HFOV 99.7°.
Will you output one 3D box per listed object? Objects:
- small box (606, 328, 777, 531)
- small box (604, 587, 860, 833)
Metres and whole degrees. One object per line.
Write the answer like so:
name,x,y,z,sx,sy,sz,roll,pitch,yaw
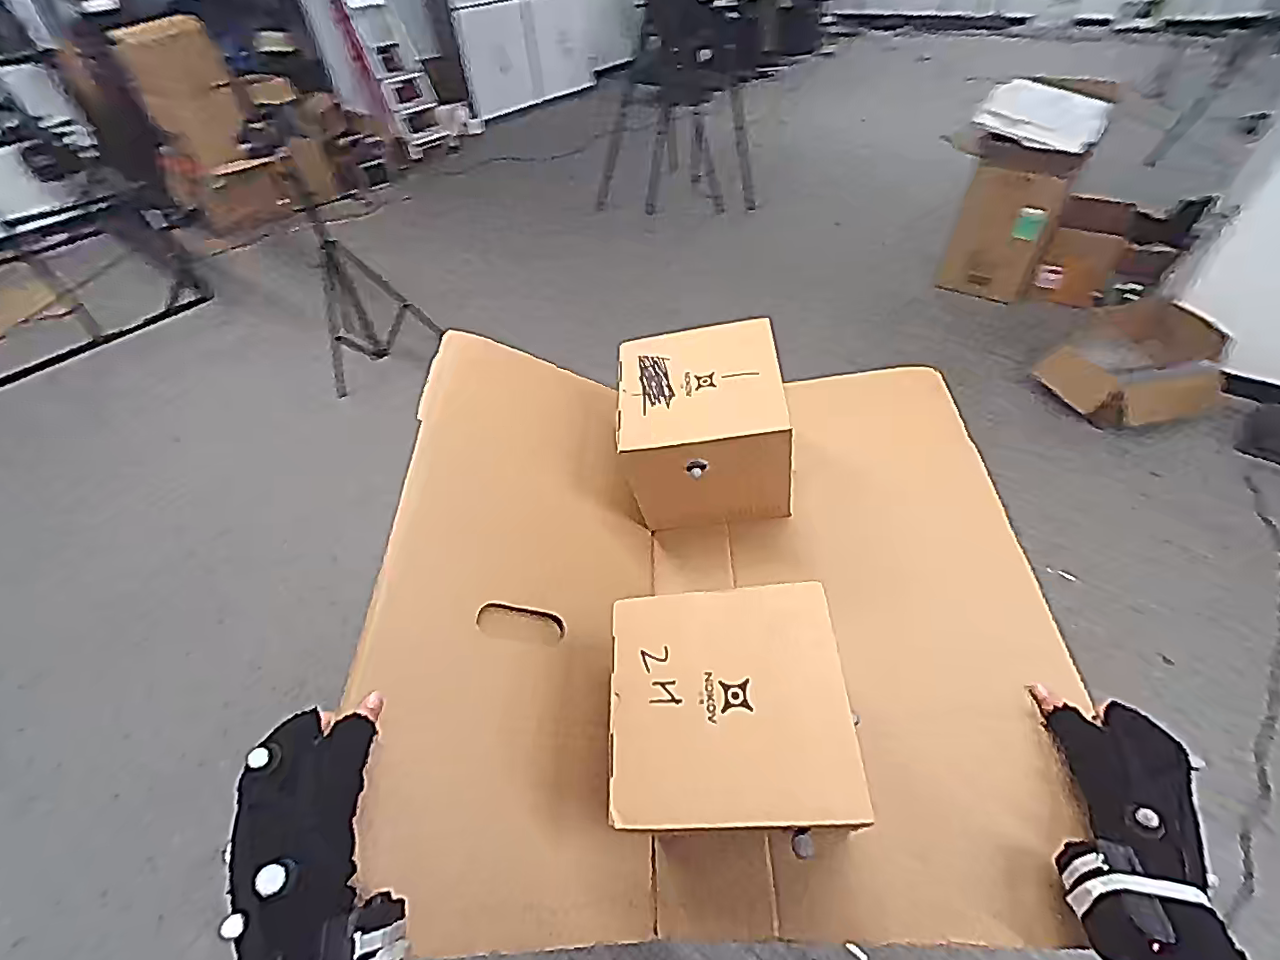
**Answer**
small box,0.065,-0.052,0.655,0.179,0.176,0.168,-8,55,9
small box,0.075,0.208,0.474,0.179,0.176,0.168,-9,54,10
